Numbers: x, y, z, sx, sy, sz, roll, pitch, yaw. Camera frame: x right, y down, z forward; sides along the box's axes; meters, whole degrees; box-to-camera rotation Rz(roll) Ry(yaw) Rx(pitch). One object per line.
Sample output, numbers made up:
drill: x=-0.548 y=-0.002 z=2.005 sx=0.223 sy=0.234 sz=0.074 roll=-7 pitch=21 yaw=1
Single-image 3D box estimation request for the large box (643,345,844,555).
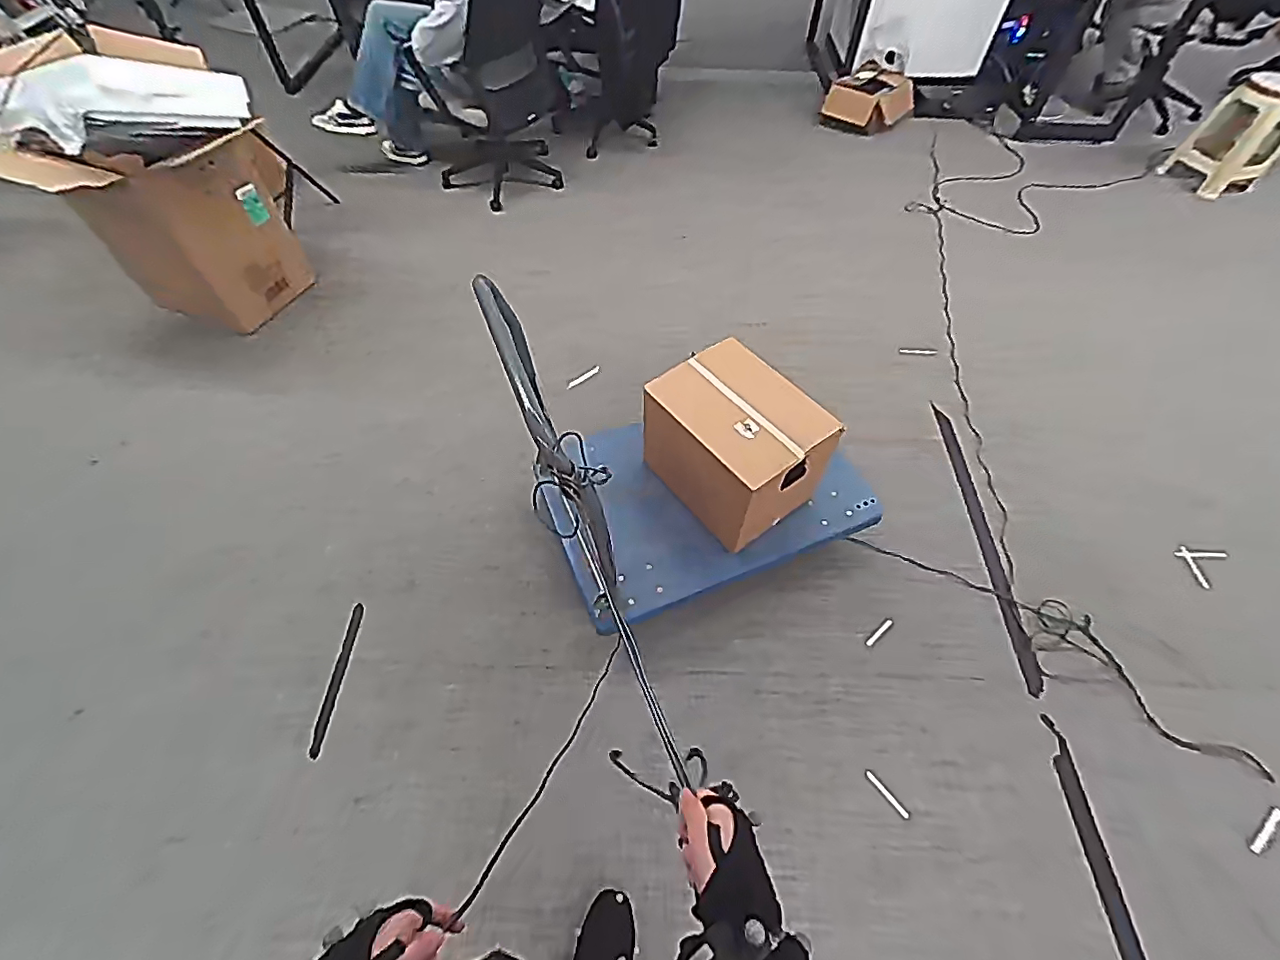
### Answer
large box: x=0.249 y=-0.083 z=1.452 sx=0.320 sy=0.320 sz=0.408 roll=-32 pitch=62 yaw=-20
